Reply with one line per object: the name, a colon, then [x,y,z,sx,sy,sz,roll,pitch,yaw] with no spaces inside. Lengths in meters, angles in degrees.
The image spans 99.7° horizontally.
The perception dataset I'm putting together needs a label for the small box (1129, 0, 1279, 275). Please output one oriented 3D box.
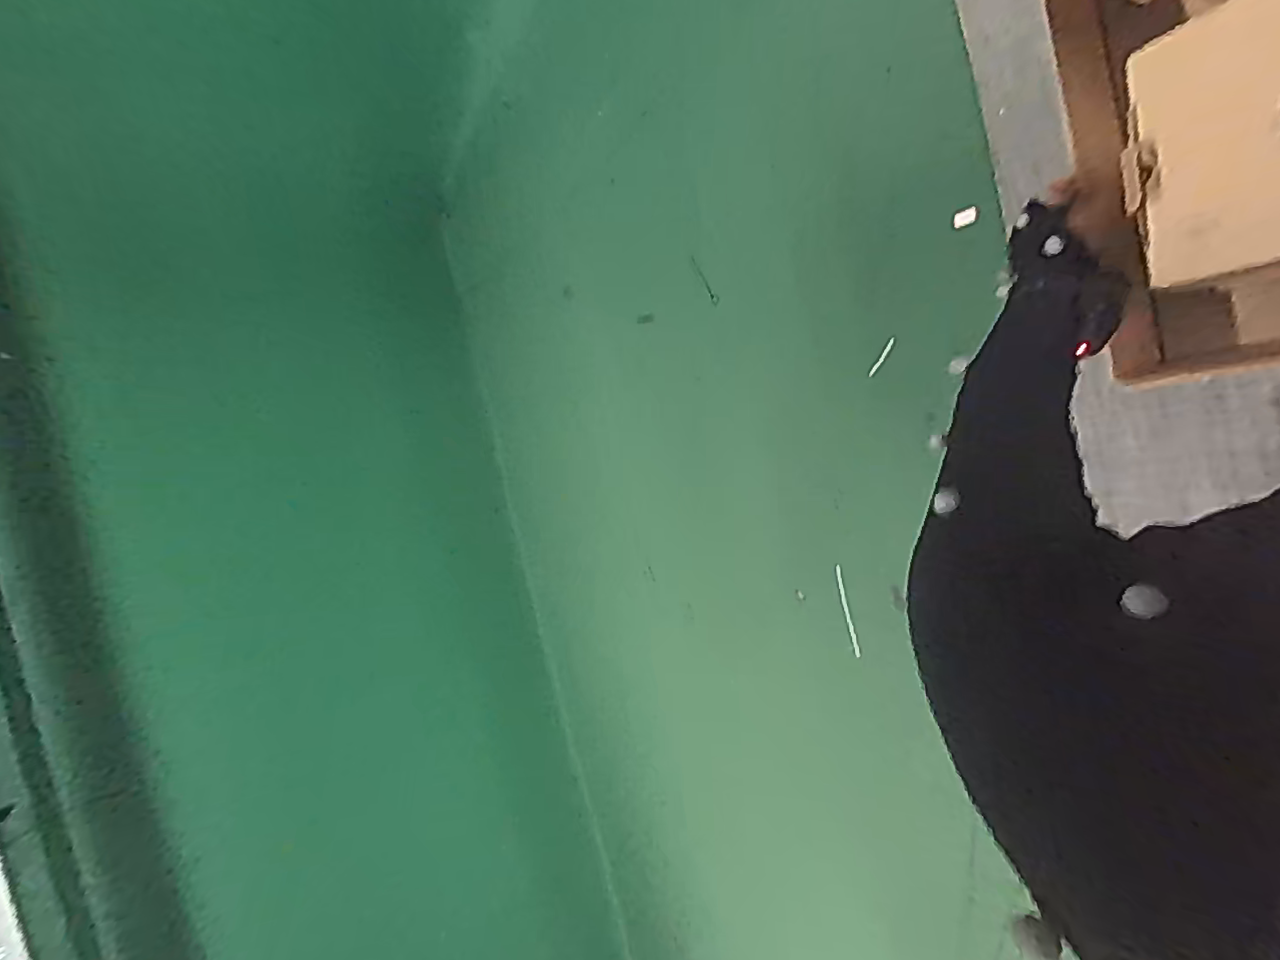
small box: [0.477,-0.248,0.362,0.179,0.176,0.168,-3,101,58]
